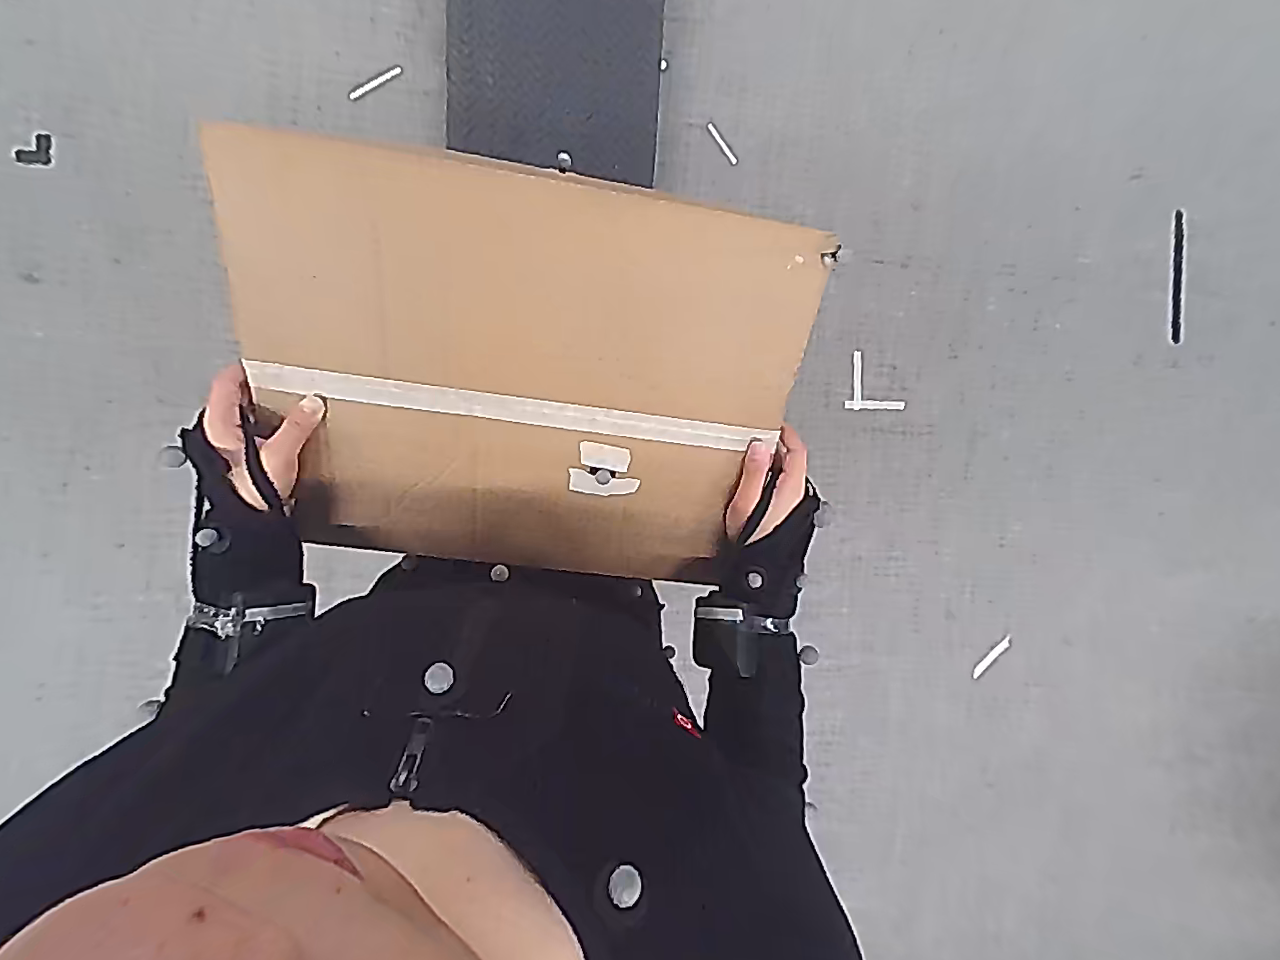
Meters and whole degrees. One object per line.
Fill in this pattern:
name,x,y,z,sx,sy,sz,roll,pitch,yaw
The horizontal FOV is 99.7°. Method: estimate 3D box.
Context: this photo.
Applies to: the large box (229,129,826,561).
large box,-0.094,-0.143,0.560,0.408,0.320,0.320,6,121,-7
